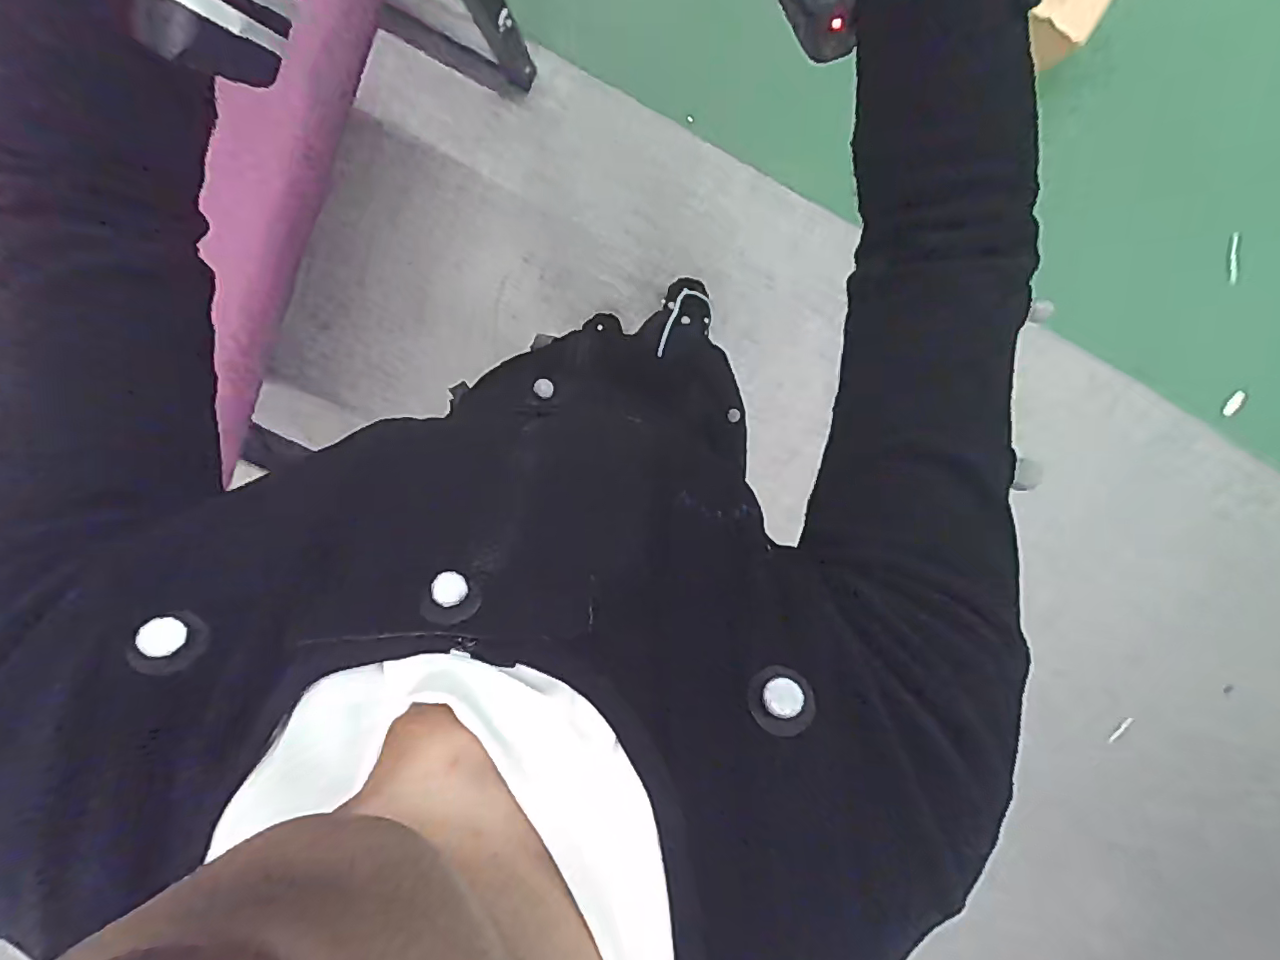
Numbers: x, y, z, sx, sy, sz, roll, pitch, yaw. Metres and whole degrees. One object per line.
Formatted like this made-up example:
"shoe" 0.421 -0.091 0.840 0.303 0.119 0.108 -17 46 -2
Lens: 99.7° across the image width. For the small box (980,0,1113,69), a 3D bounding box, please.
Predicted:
"small box" 0.843 -0.995 1.095 0.168 0.176 0.179 26 105 -6
